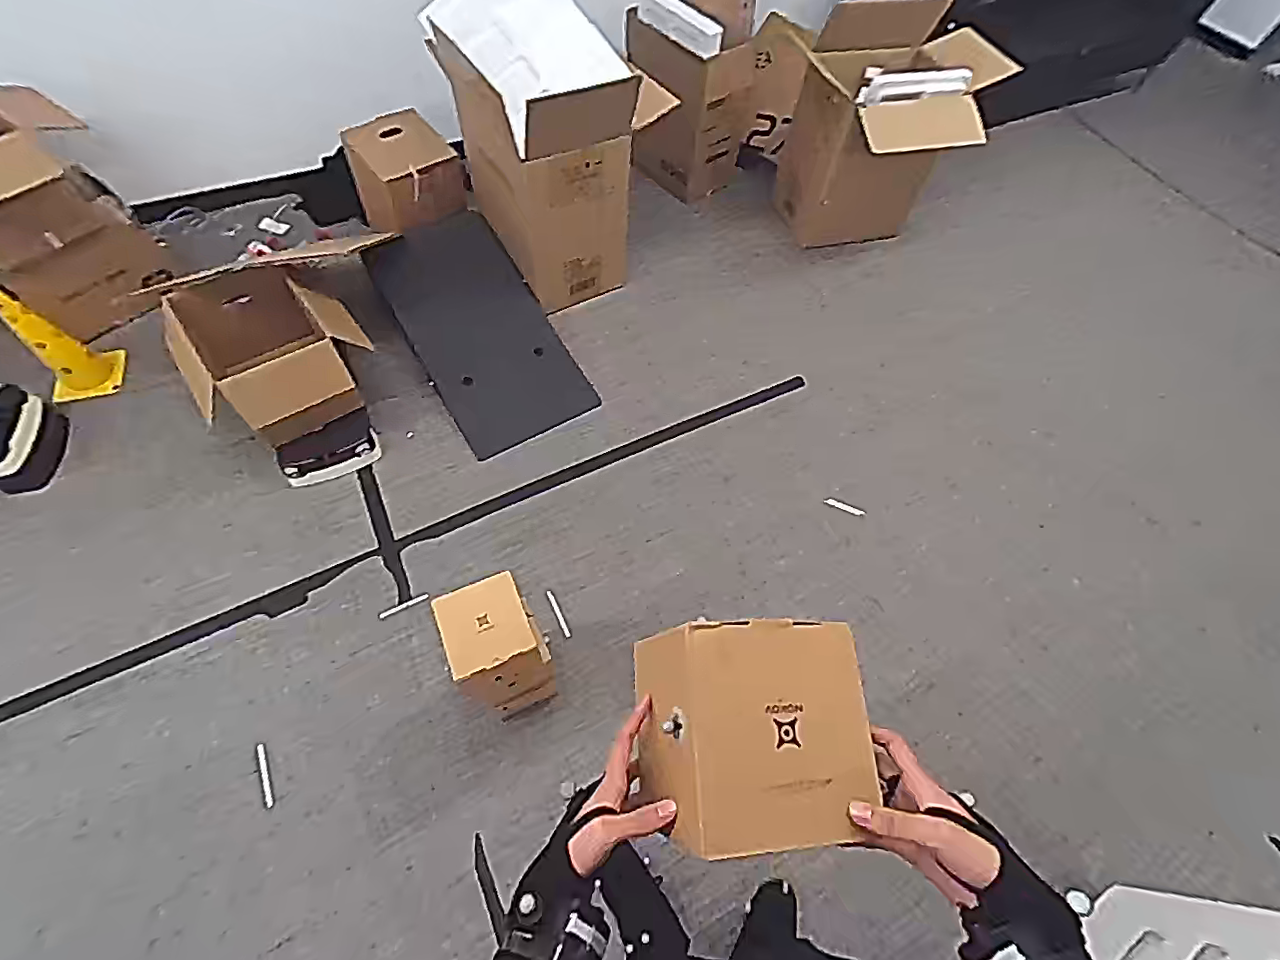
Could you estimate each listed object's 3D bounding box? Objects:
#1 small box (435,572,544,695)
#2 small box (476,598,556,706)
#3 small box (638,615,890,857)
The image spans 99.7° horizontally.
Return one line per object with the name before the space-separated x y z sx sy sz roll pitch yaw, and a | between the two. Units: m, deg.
small box | -0.310 0.325 1.133 0.168 0.176 0.179 -21 64 -17
small box | -0.310 0.409 1.272 0.179 0.176 0.168 -22 63 -18
small box | 0.099 0.232 0.517 0.168 0.176 0.179 5 67 -16
